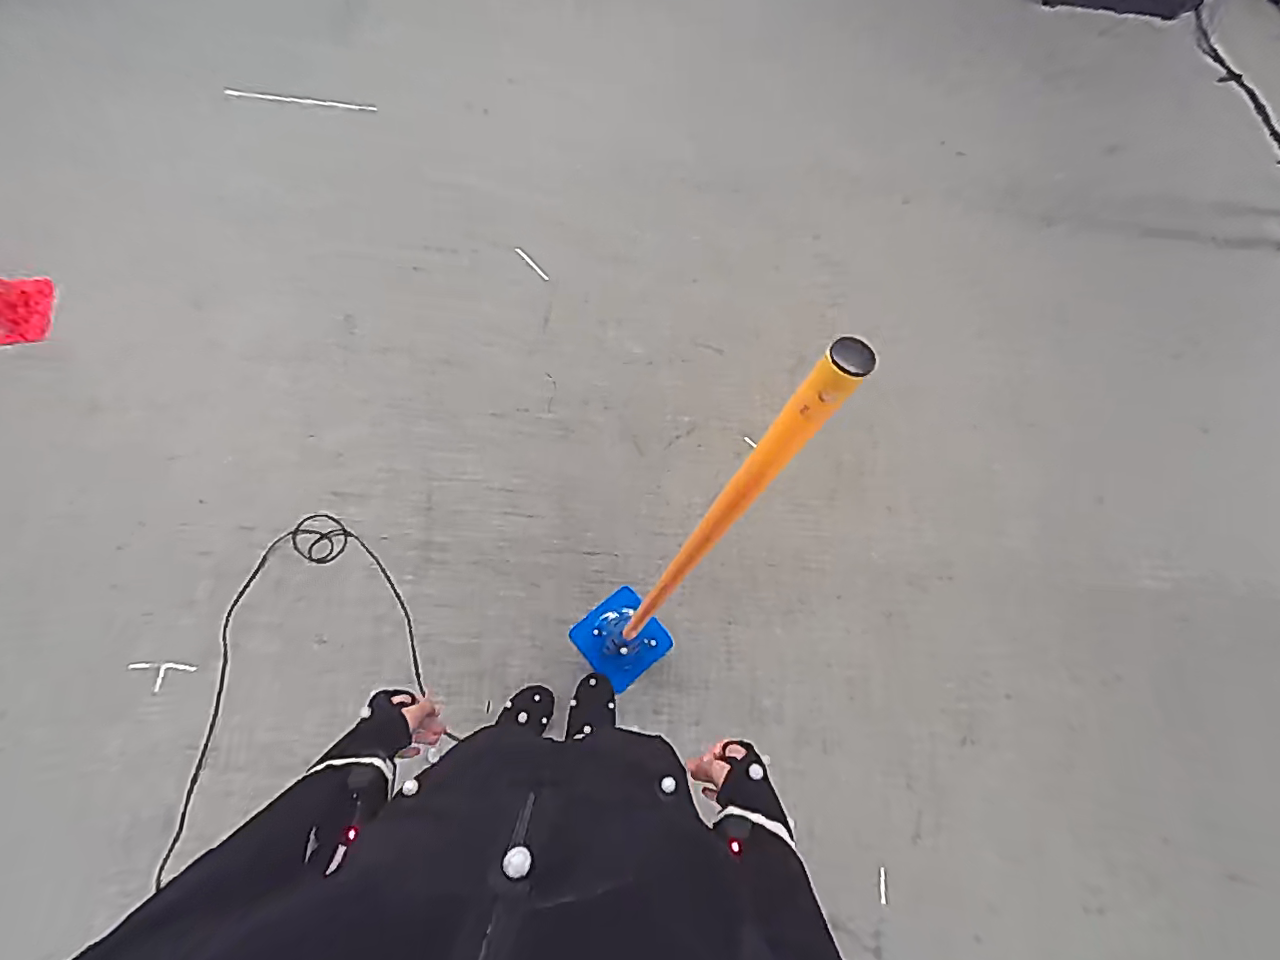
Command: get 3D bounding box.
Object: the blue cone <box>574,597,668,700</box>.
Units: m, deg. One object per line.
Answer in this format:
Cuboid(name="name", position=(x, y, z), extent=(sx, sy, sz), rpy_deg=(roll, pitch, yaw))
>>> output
Cuboid(name="blue cone", position=(-0.033, 0.356, 1.169), extent=(0.193, 0.380, 0.192), rpy_deg=(-39, 79, -15))
